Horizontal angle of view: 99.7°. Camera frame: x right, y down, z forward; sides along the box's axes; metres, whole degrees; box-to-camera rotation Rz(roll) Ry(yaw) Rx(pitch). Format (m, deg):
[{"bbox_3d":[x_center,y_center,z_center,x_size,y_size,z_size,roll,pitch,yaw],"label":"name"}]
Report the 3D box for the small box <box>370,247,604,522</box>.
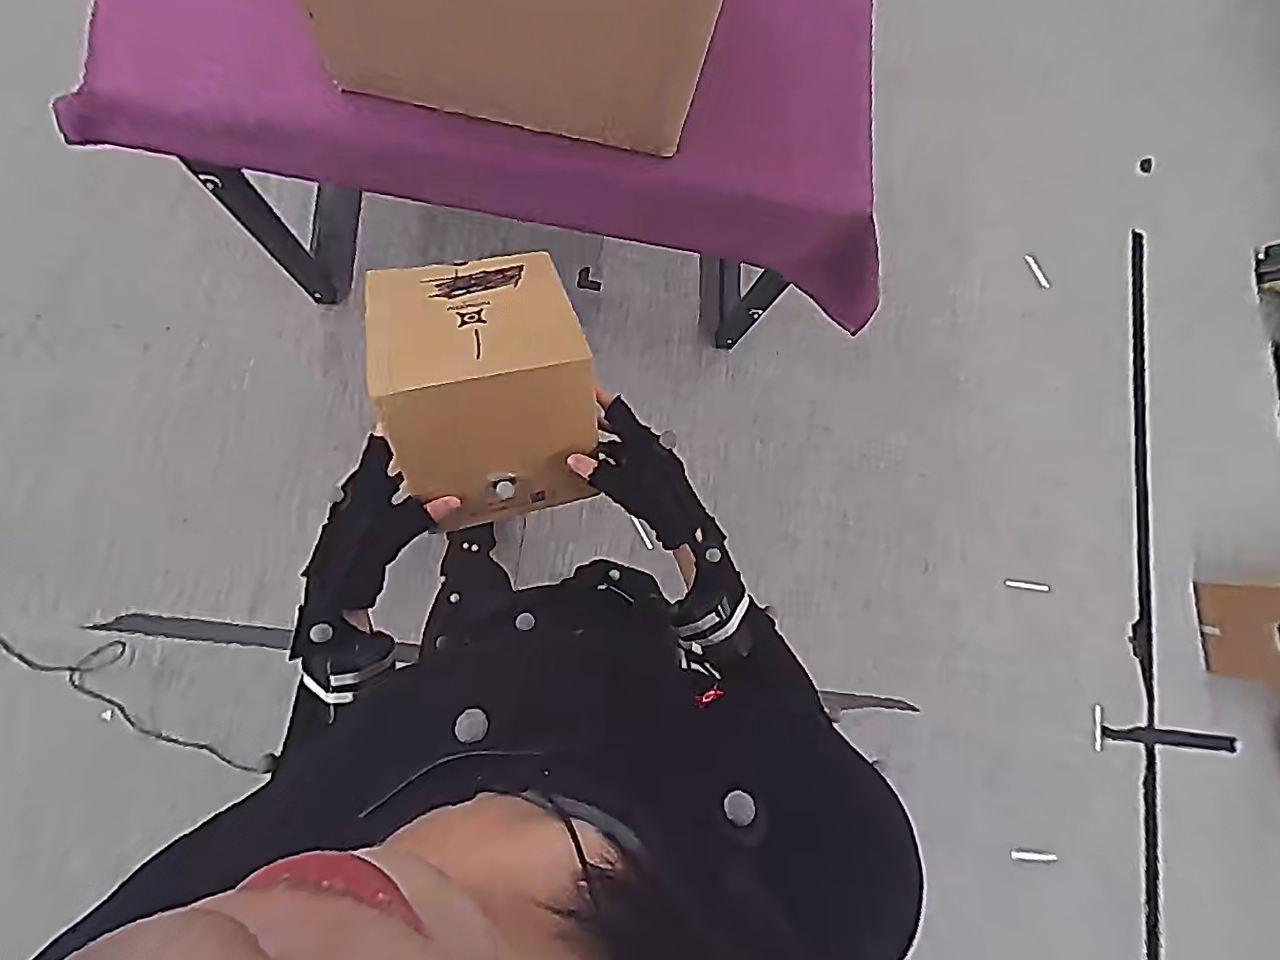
[{"bbox_3d":[-0.133,-0.089,0.496,0.168,0.176,0.179,-12,50,-13],"label":"small box"}]
